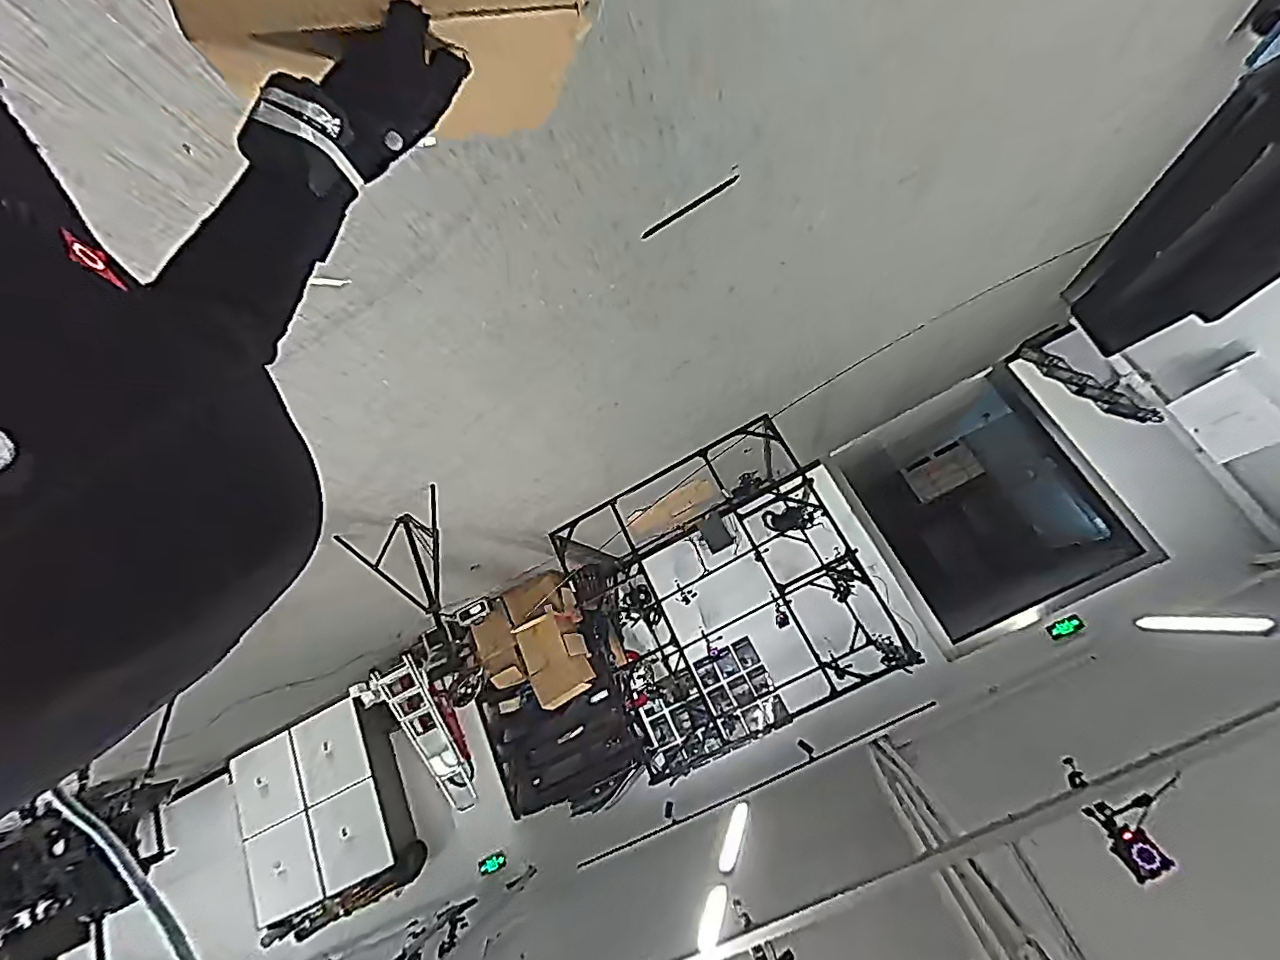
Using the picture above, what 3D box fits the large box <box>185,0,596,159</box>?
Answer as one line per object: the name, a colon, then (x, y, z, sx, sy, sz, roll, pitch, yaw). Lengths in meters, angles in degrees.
large box: (-0.269, -0.578, 0.499, 0.320, 0.408, 0.320, -18, -159, -14)
